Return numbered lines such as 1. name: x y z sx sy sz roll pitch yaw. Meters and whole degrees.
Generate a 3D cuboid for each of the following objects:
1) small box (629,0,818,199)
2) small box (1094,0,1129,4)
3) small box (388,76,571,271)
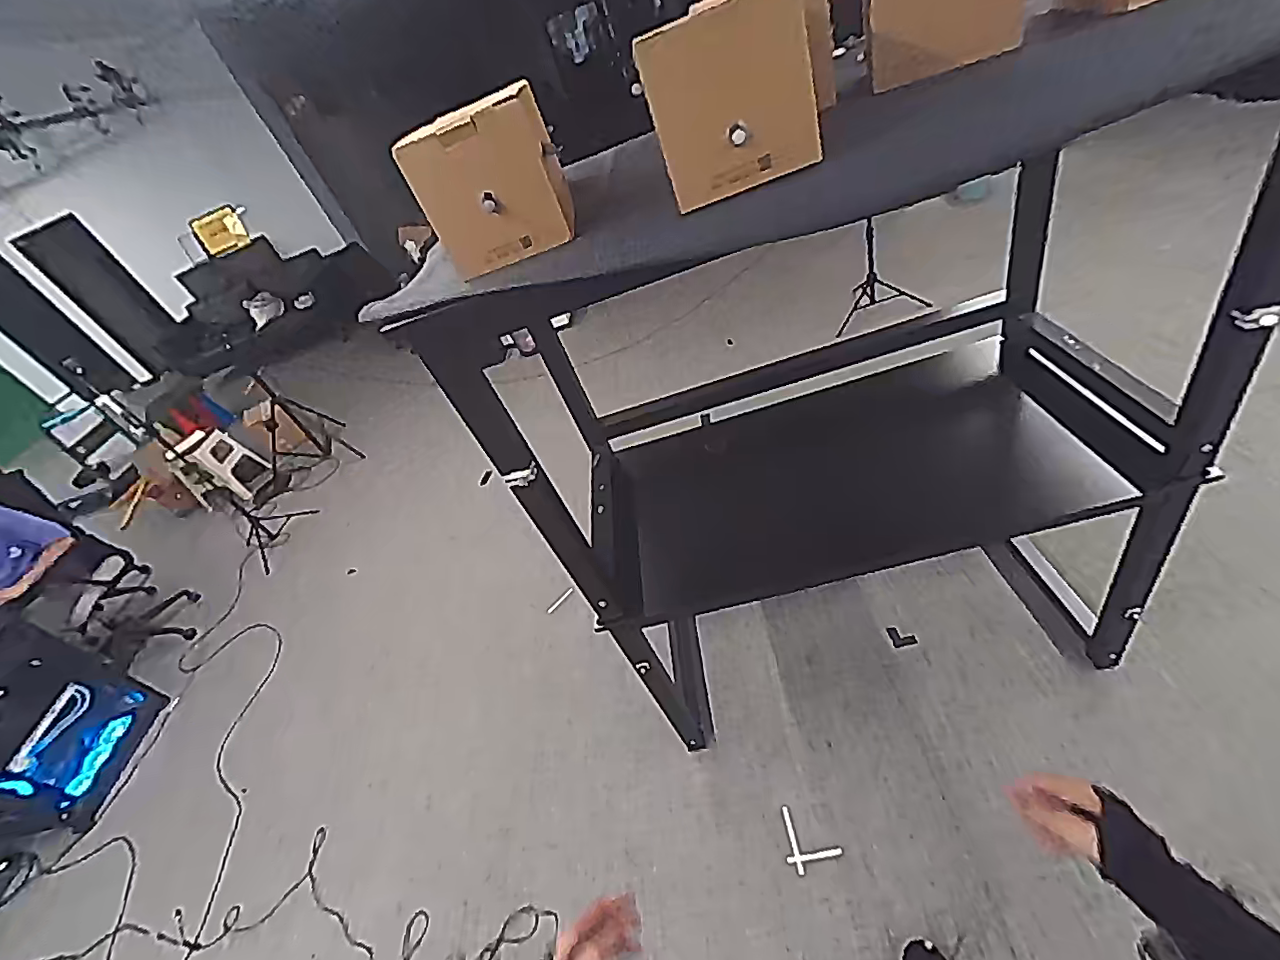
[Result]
1. small box: 0.094 -0.448 0.621 0.168 0.176 0.179 -16 38 13
2. small box: 0.628 -0.689 0.627 0.168 0.176 0.179 -13 40 14
3. small box: -0.198 -0.405 0.727 0.168 0.176 0.179 -18 41 8
